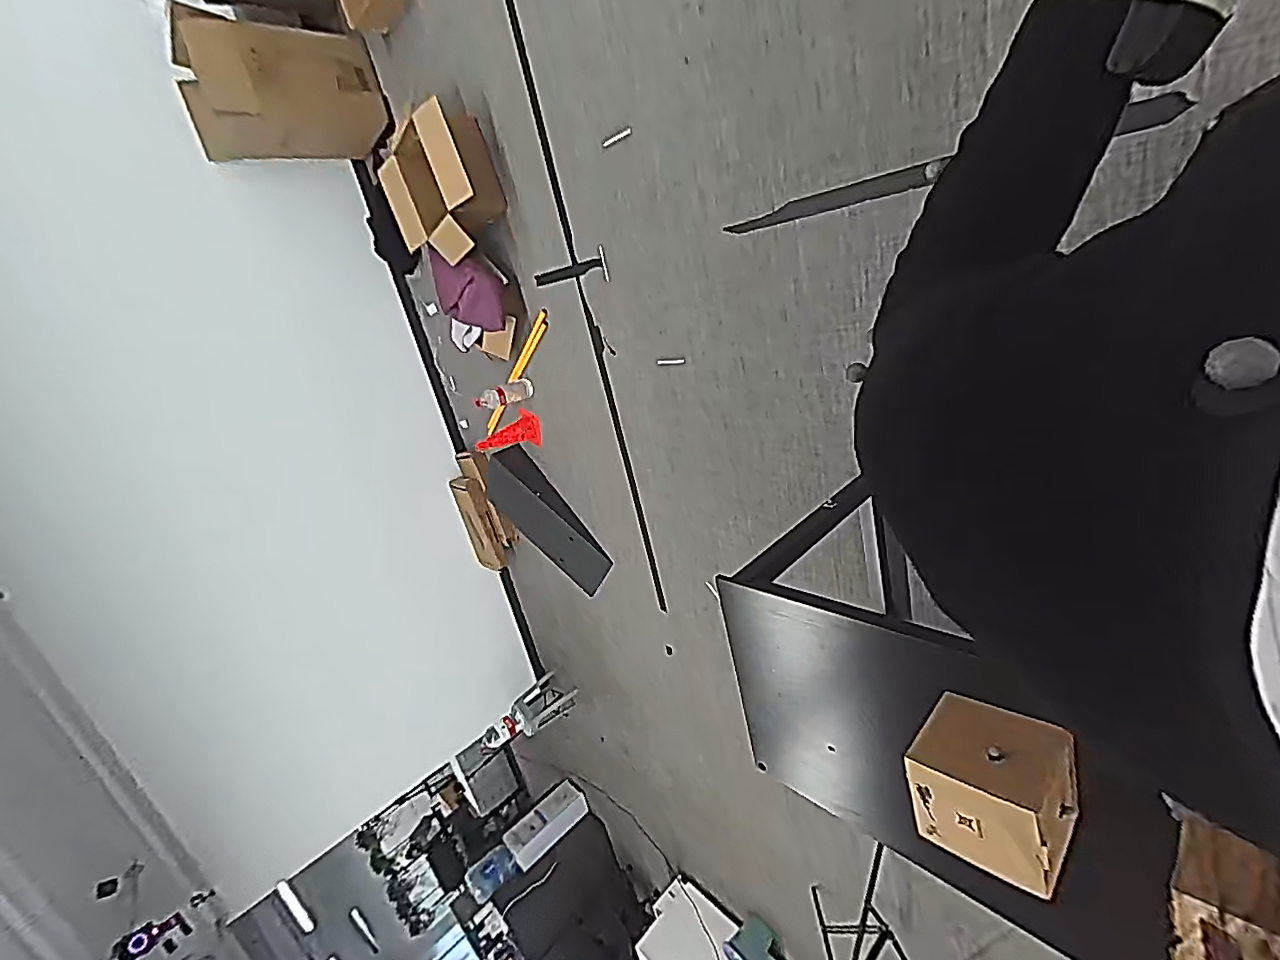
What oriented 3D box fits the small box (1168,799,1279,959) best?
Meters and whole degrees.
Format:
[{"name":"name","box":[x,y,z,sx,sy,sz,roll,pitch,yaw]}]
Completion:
[{"name":"small box","box":[0.732,0.506,0.612,0.179,0.176,0.168,2,115,50]}]

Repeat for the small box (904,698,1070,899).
[{"name":"small box","box":[0.538,0.470,0.831,0.179,0.176,0.168,3,115,50]}]
